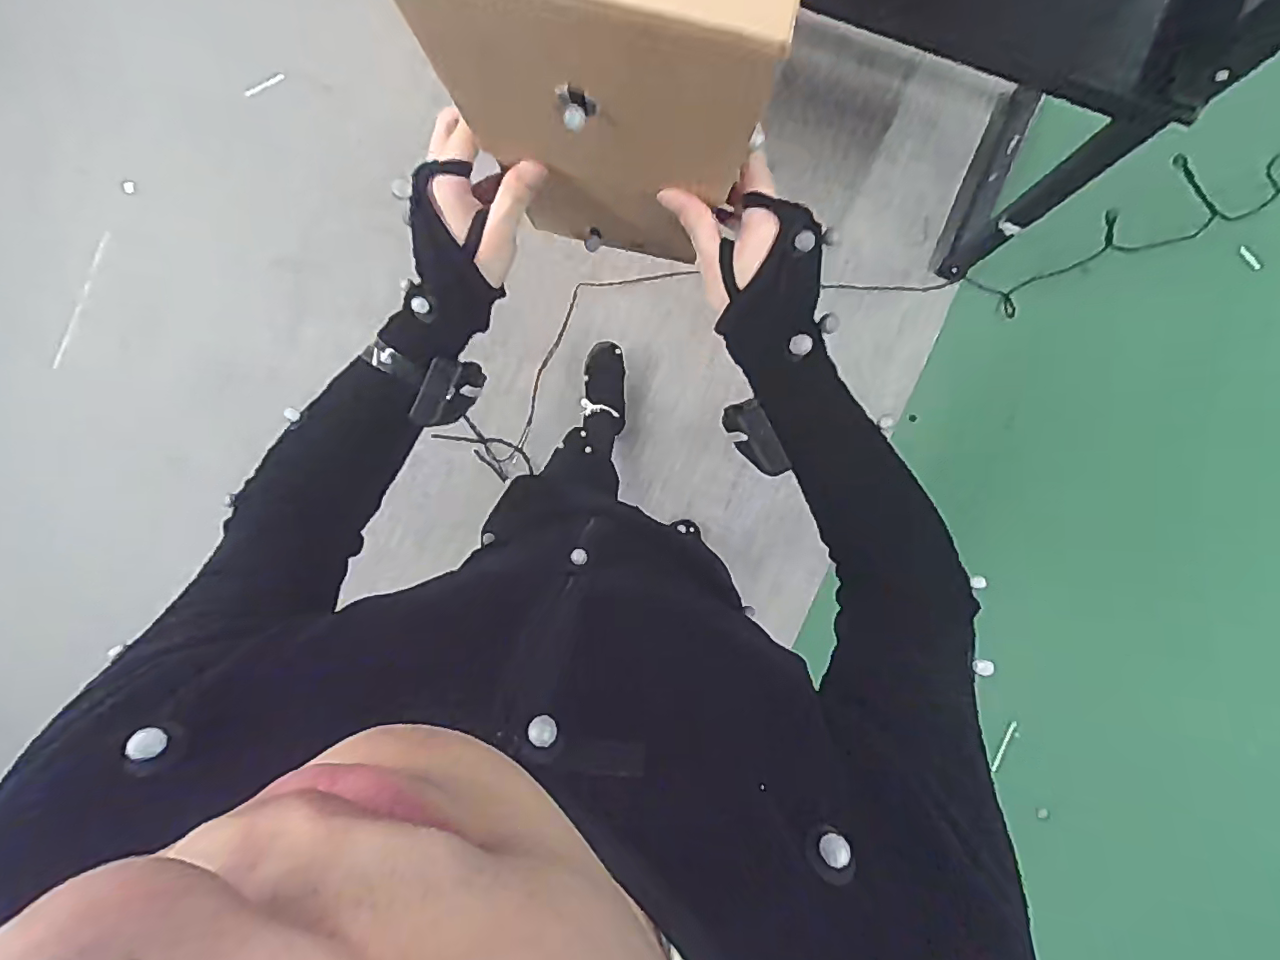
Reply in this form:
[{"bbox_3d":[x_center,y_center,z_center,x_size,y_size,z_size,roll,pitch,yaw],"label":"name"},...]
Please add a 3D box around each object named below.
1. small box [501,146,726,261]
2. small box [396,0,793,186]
[{"bbox_3d":[-0.008,-0.307,0.447,0.168,0.176,0.179,12,96,-1],"label":"small box"},{"bbox_3d":[-0.010,-0.283,0.285,0.179,0.176,0.168,12,96,0],"label":"small box"}]
